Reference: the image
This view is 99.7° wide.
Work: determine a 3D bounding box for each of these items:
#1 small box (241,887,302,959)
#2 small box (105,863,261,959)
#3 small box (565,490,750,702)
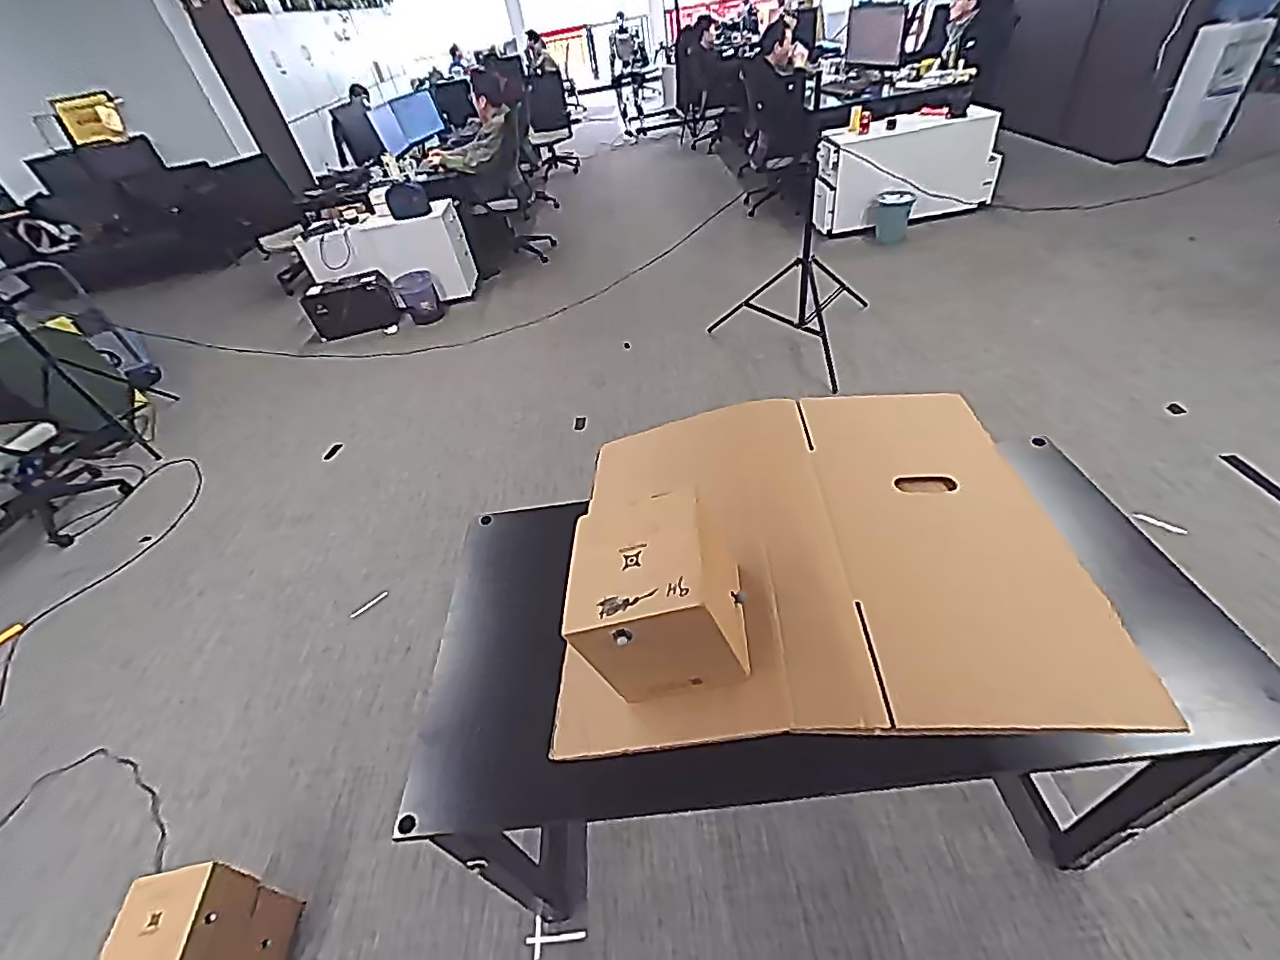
[{"bbox_3d":[-0.898,1.046,1.207,0.168,0.176,0.179,-11,42,0],"label":"small box"},{"bbox_3d":[-0.924,0.923,1.104,0.168,0.176,0.179,-12,40,-3],"label":"small box"},{"bbox_3d":[0.029,0.145,0.671,0.168,0.176,0.179,-17,39,17],"label":"small box"}]
